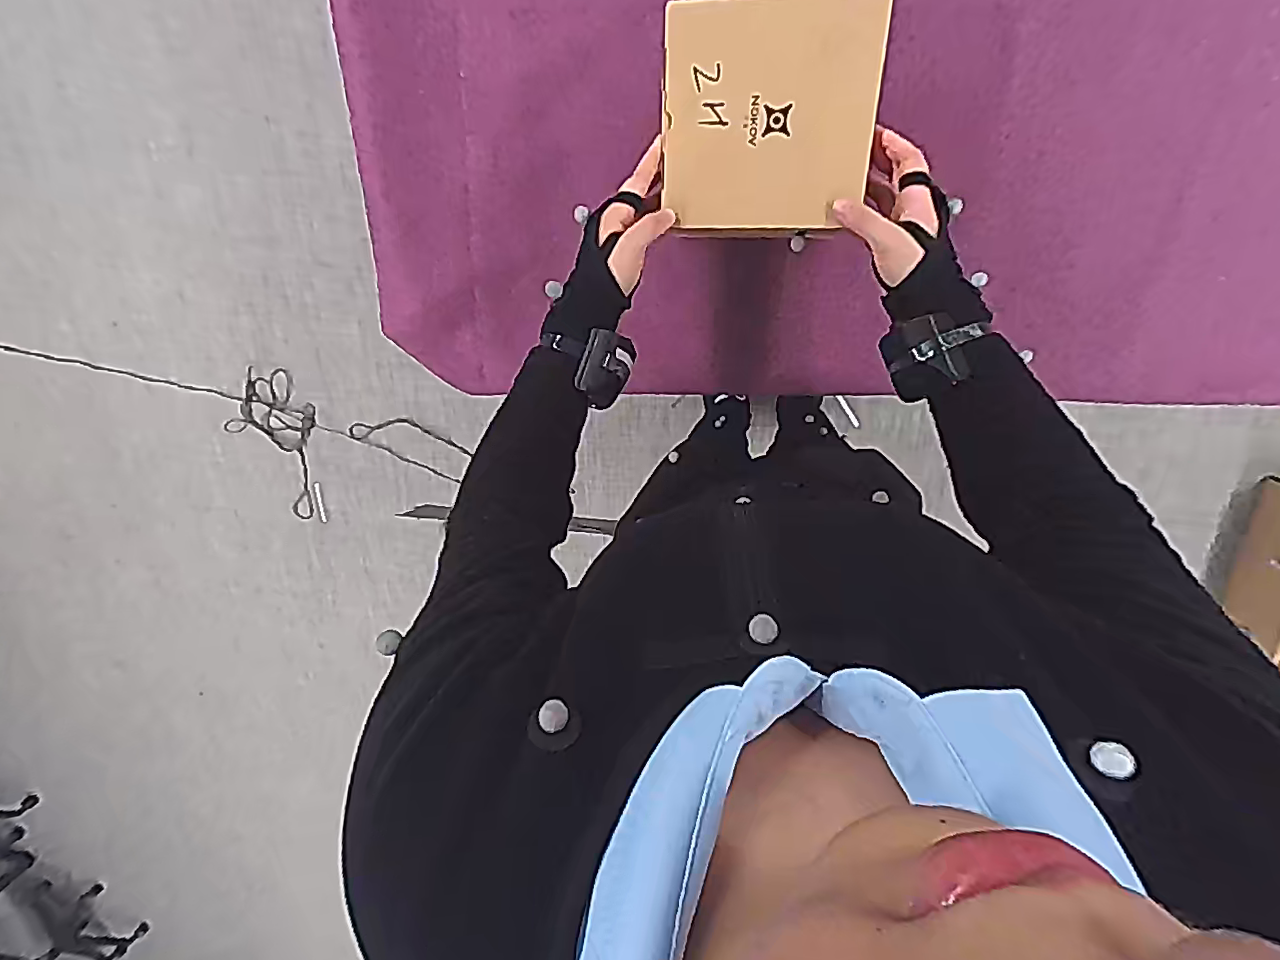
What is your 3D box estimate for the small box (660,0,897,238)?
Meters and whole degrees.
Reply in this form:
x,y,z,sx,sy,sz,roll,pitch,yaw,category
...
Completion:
x,y,z,sx,sy,sz,roll,pitch,yaw,category
0.117,-0.327,0.516,0.179,0.176,0.168,4,112,8,small box
